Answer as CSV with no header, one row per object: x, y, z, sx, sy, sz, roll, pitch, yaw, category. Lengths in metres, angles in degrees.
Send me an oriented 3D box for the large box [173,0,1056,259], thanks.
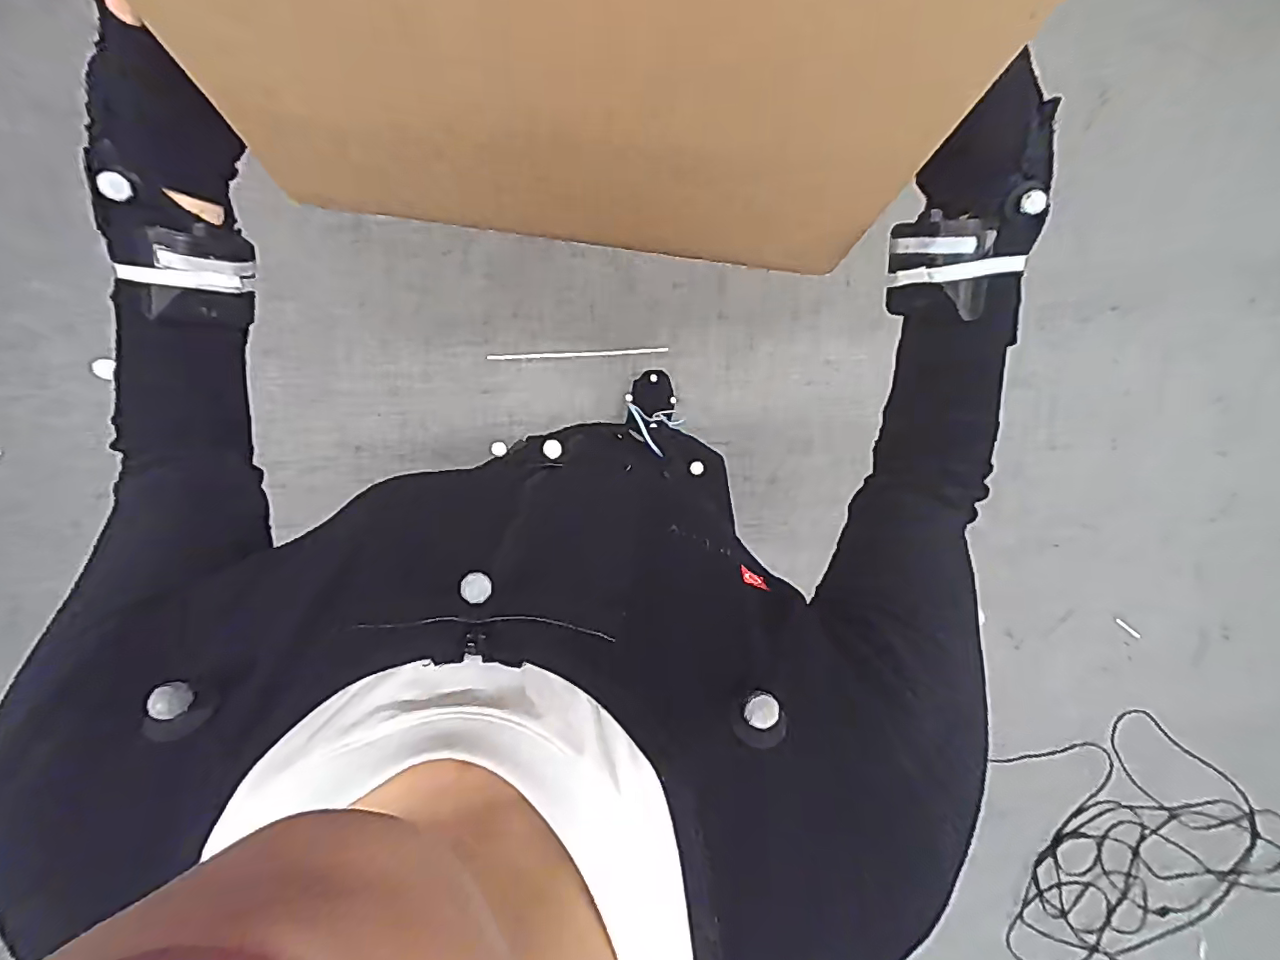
-0.015,-0.356,0.283,0.408,0.320,0.320,6,82,-6,large box
